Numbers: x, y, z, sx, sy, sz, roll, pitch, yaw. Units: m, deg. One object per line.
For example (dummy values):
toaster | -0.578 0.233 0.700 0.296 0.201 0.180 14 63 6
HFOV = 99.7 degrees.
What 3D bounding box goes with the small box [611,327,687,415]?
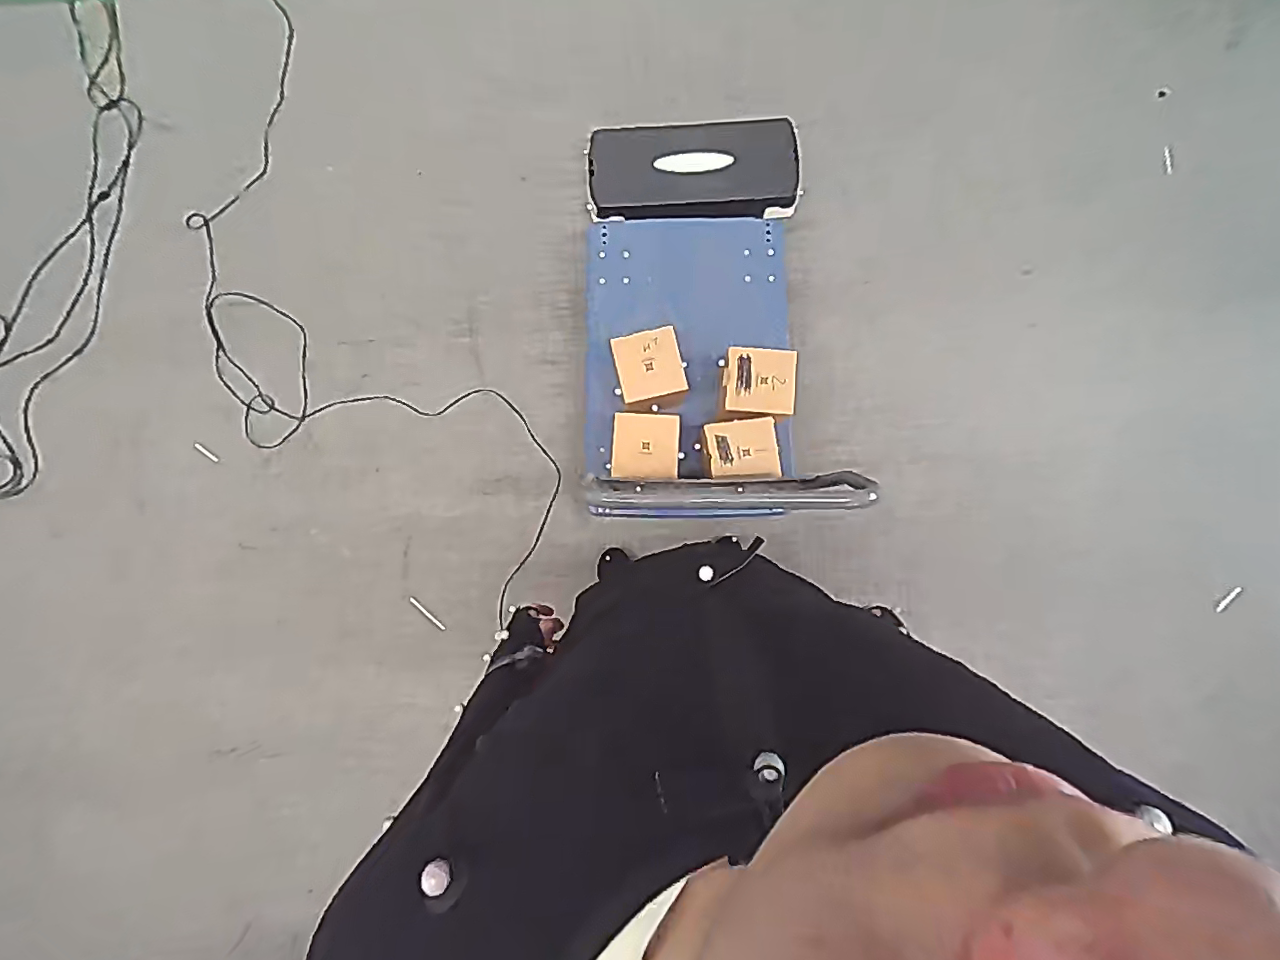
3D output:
small box | 0.024 -0.281 1.440 0.168 0.176 0.179 -13 84 -2
